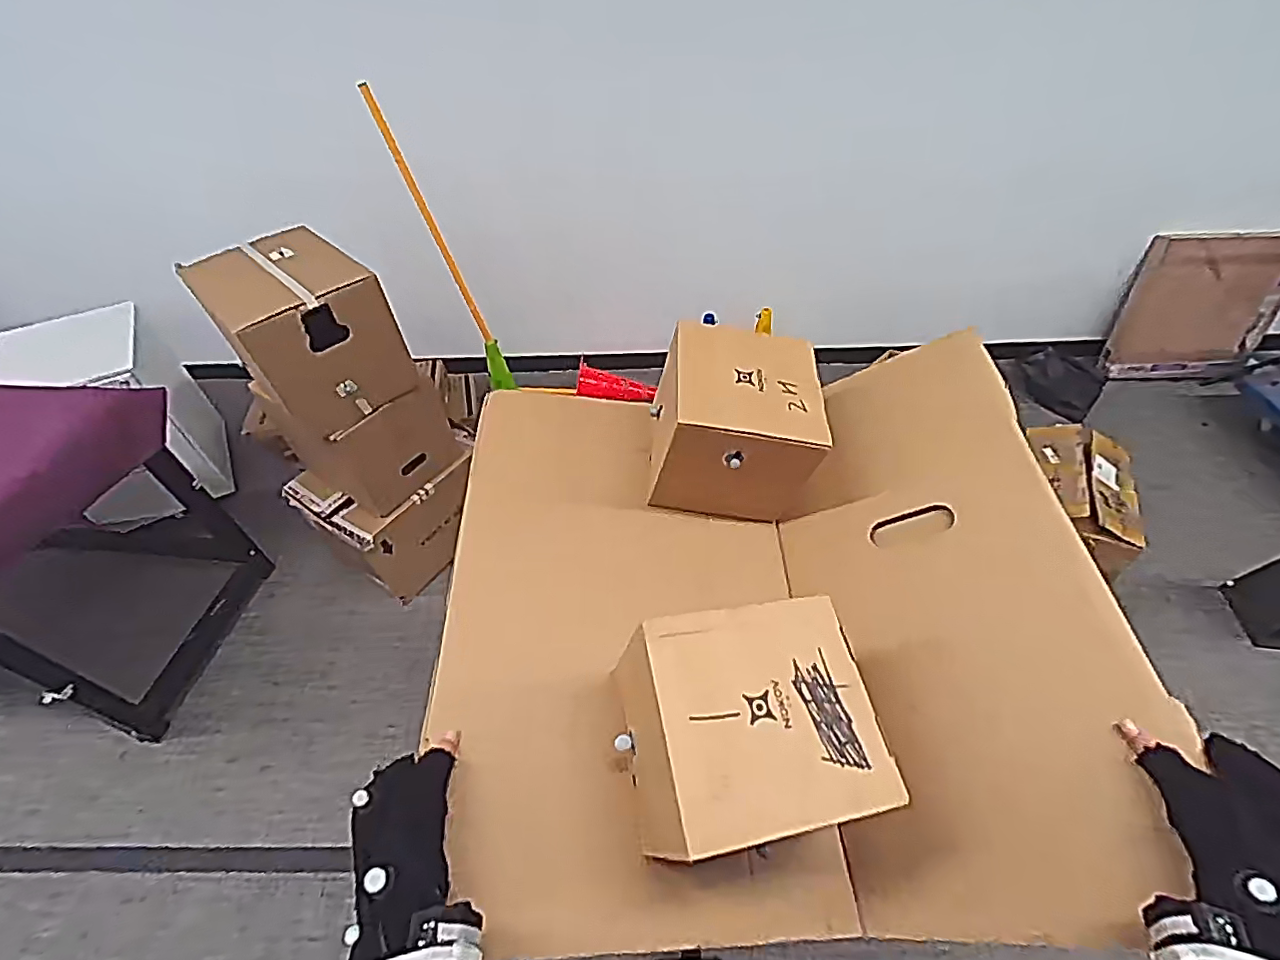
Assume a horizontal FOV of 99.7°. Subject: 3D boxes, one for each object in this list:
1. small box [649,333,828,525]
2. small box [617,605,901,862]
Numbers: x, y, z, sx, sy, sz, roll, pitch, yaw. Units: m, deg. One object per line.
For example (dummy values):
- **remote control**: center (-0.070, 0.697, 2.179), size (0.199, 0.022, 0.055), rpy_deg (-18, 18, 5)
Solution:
- **small box**: center (0.112, -0.057, 0.692), size (0.179, 0.176, 0.168), rpy_deg (9, 55, -7)
- **small box**: center (0.086, 0.228, 0.491), size (0.179, 0.176, 0.168), rpy_deg (-4, 57, -14)
